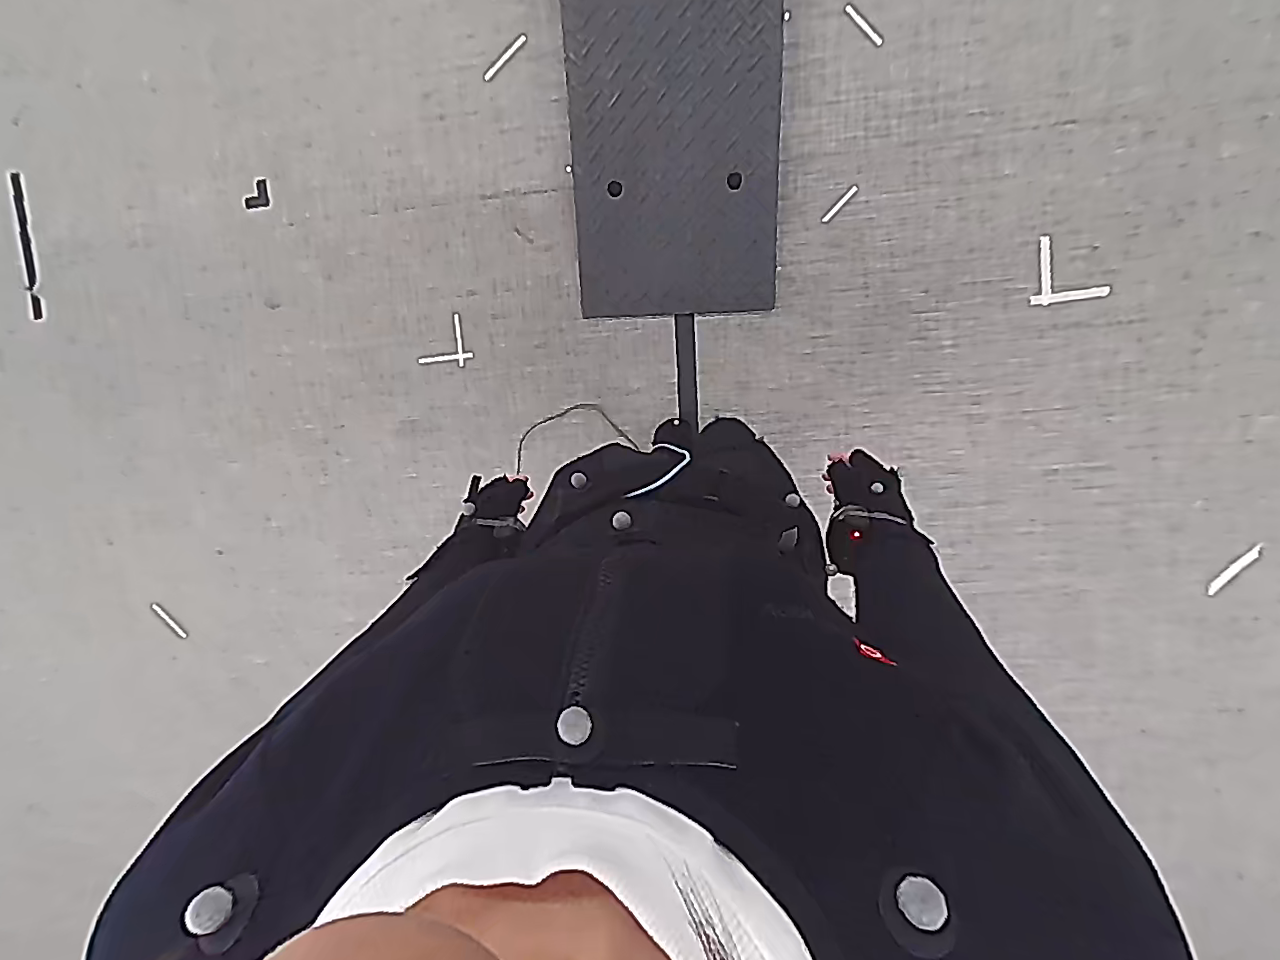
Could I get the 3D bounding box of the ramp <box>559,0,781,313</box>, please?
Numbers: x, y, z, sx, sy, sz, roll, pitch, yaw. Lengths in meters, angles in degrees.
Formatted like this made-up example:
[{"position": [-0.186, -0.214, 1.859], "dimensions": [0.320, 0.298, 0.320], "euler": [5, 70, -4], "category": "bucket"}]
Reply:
[{"position": [0.071, -0.911, 1.225], "dimensions": [0.509, 0.206, 0.991], "euler": [-3, 98, 5], "category": "ramp"}]
